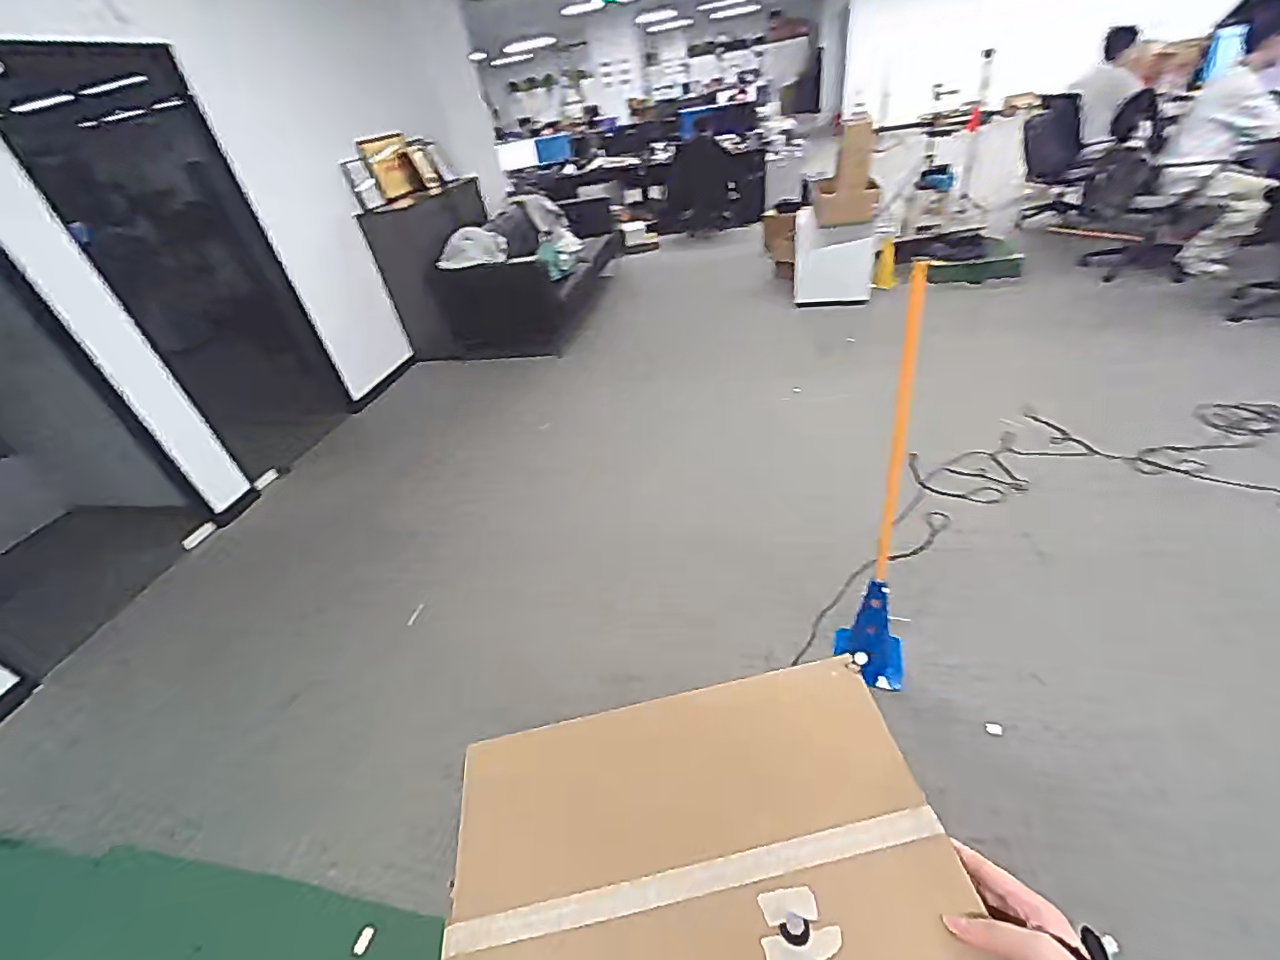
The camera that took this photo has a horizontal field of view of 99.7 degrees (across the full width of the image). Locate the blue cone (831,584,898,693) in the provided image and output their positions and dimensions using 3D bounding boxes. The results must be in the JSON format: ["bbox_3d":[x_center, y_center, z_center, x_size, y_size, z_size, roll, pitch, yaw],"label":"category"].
[{"bbox_3d":[0.676,0.438,1.595,0.193,0.380,0.192,6,39,22],"label":"blue cone"}]

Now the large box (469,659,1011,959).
[{"bbox_3d":[0.075,0.436,0.541,0.408,0.320,0.320,-12,41,-1],"label":"large box"}]
